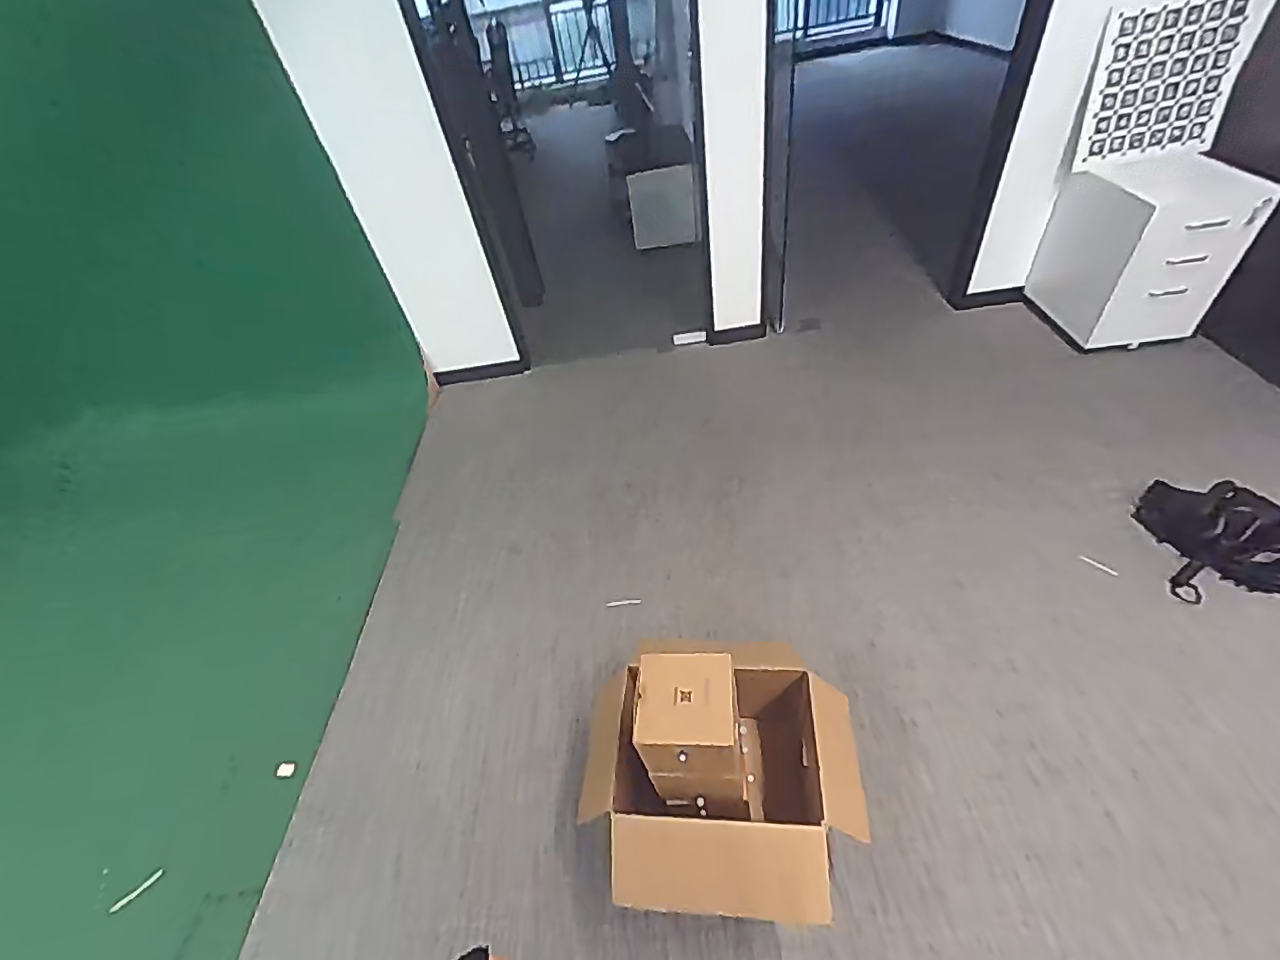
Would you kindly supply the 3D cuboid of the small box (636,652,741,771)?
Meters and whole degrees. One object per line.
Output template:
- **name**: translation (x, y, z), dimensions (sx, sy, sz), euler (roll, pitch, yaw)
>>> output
- **small box**: translation (0.098, 0.444, 1.034), dimensions (0.179, 0.176, 0.168), euler (-4, 46, 10)
